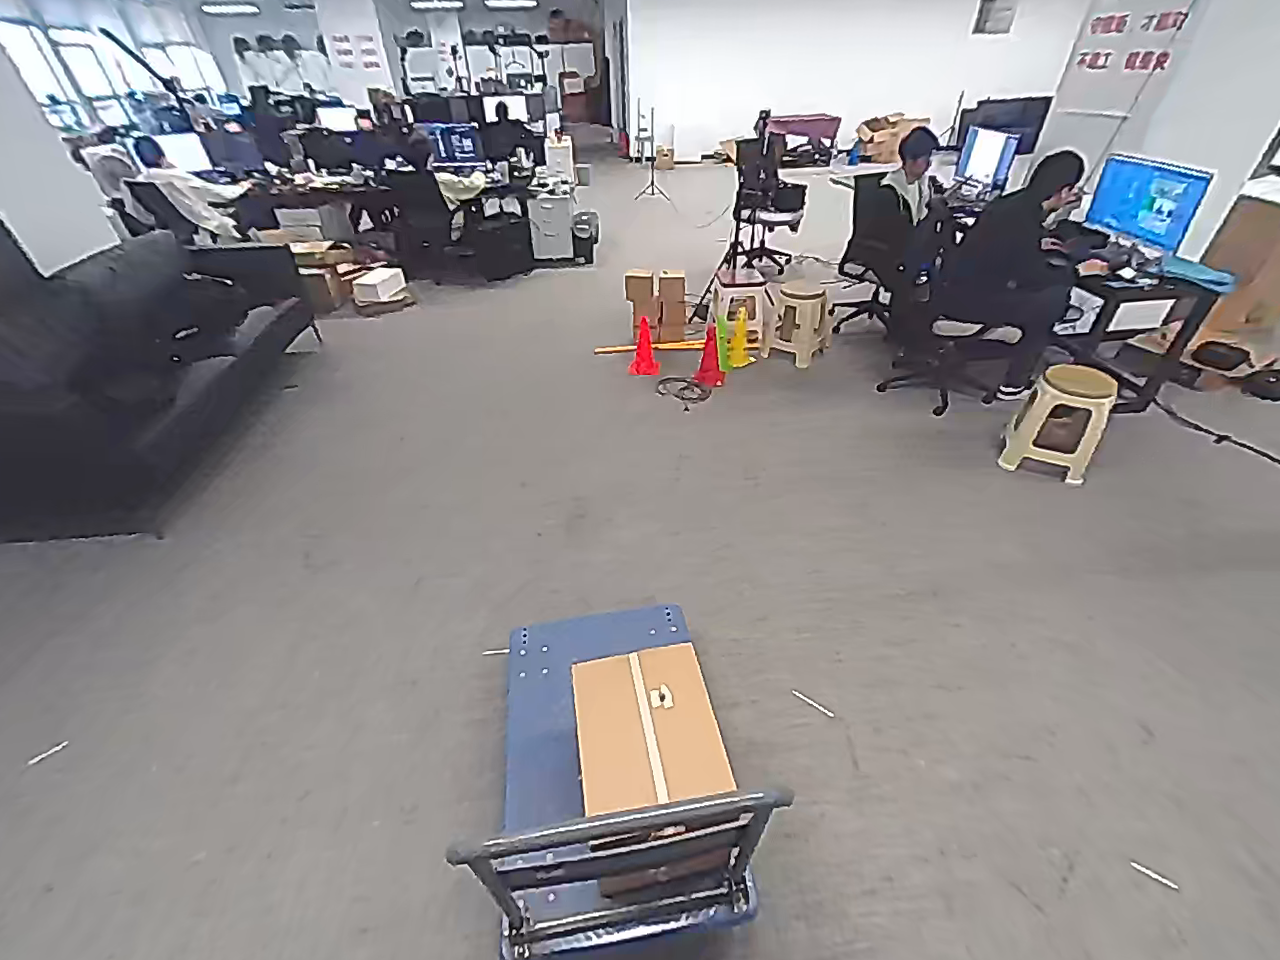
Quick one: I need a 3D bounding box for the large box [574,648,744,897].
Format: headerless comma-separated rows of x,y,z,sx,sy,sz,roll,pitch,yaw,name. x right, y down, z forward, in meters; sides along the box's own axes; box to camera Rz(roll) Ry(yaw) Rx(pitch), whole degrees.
0.029,0.687,1.302,0.320,0.320,0.408,-7,38,-8,large box
